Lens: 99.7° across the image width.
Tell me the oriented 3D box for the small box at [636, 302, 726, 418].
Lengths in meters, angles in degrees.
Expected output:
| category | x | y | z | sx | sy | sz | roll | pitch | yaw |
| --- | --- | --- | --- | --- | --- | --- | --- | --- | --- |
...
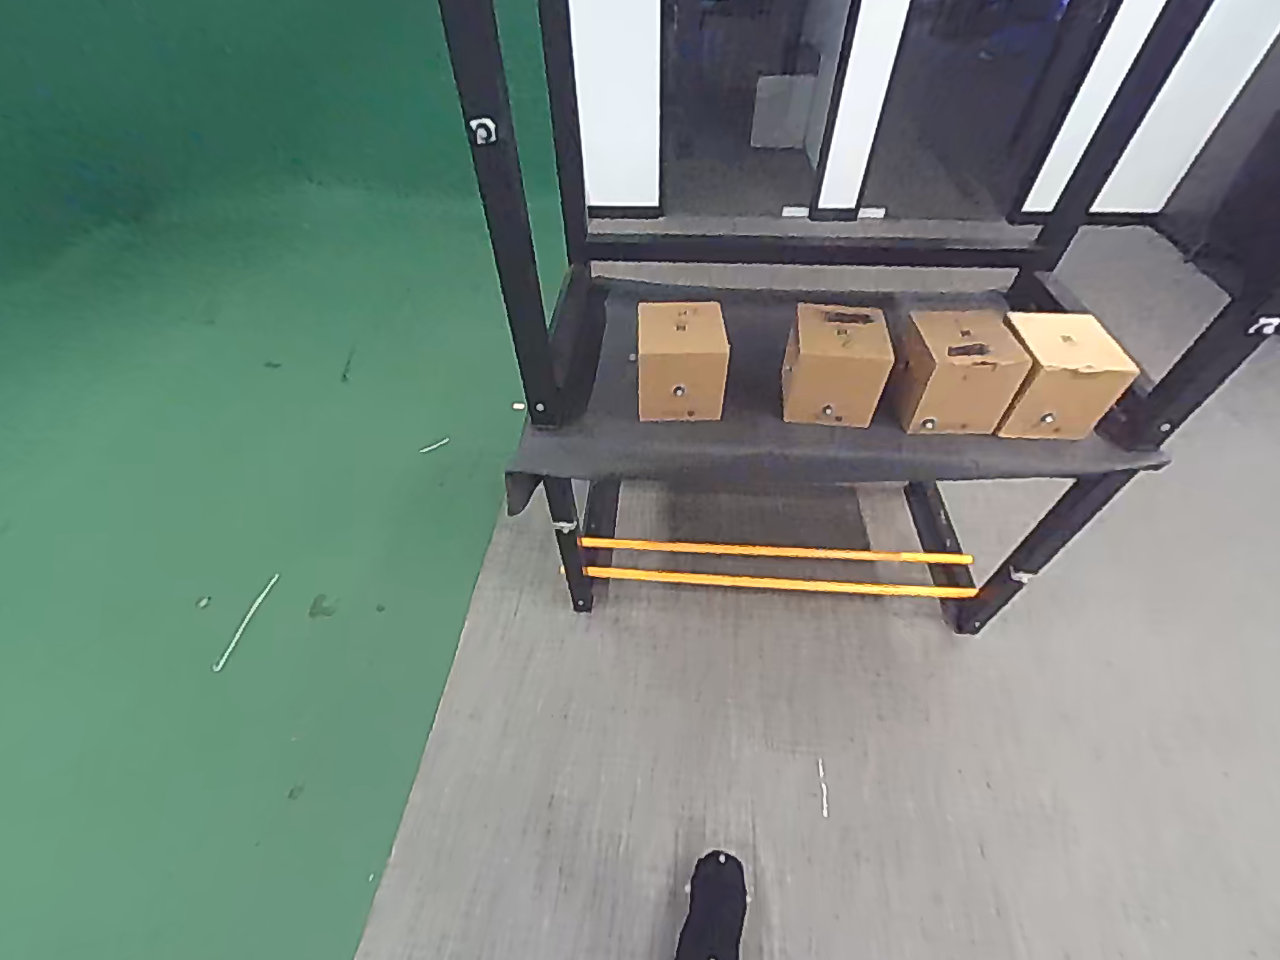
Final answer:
| category | x | y | z | sx | sy | sz | roll | pitch | yaw |
| --- | --- | --- | --- | --- | --- | --- | --- | --- | --- |
| small box | 0.077 | -0.238 | 1.090 | 0.168 | 0.176 | 0.179 | 0 | 47 | 0 |
